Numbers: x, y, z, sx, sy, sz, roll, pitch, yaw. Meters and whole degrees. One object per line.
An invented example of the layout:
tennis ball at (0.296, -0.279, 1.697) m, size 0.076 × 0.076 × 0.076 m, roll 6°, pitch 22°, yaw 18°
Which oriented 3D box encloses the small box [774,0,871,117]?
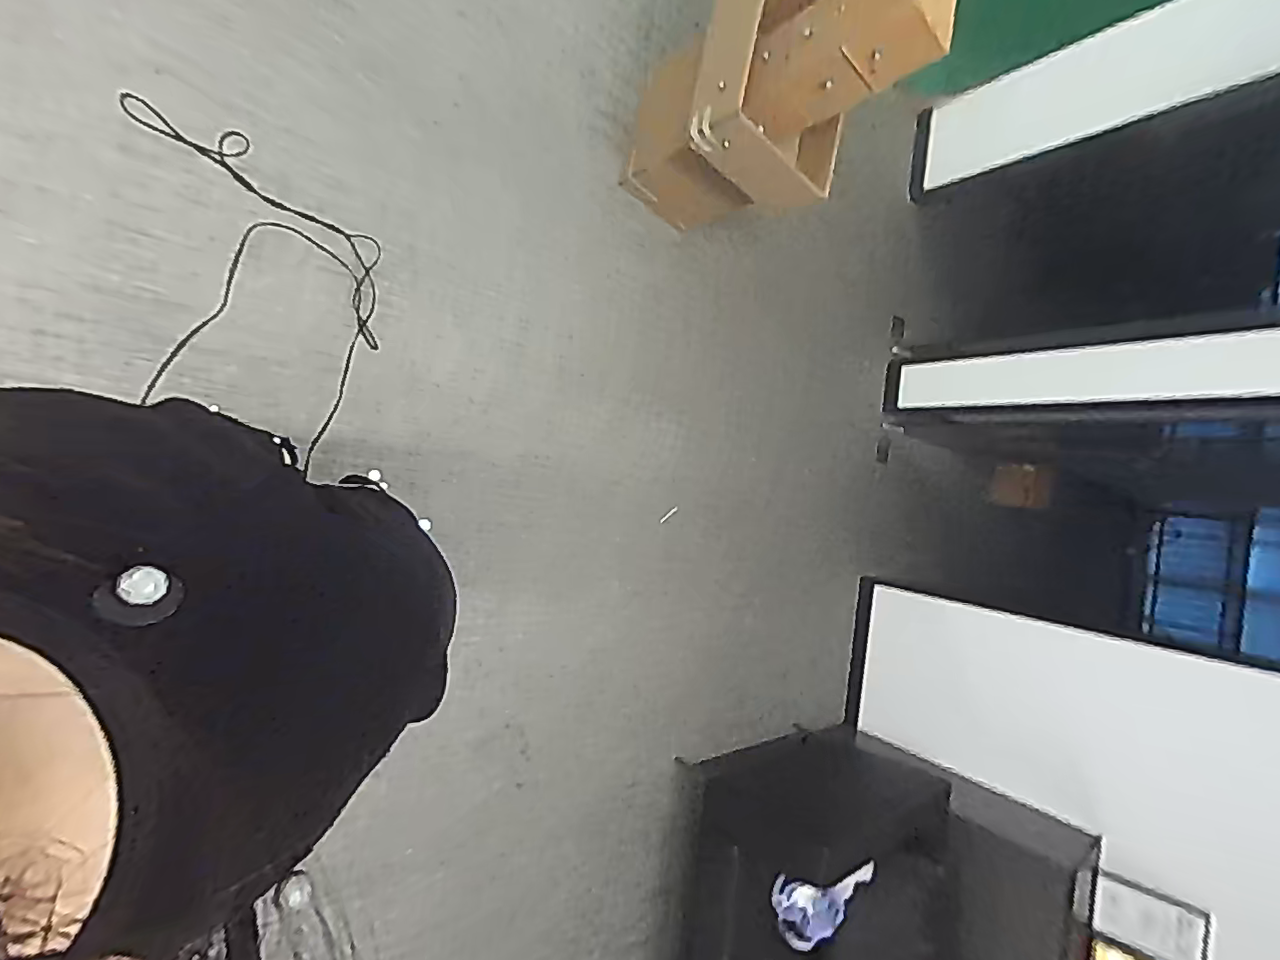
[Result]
small box at (0.448, -1.032, 1.313) m, size 0.179 × 0.176 × 0.168 m, roll 11°, pitch 86°, yaw -38°

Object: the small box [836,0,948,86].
small box at (0.551, -1.028, 1.185) m, size 0.168 × 0.176 × 0.179 m, roll 12°, pitch 86°, yaw -39°
